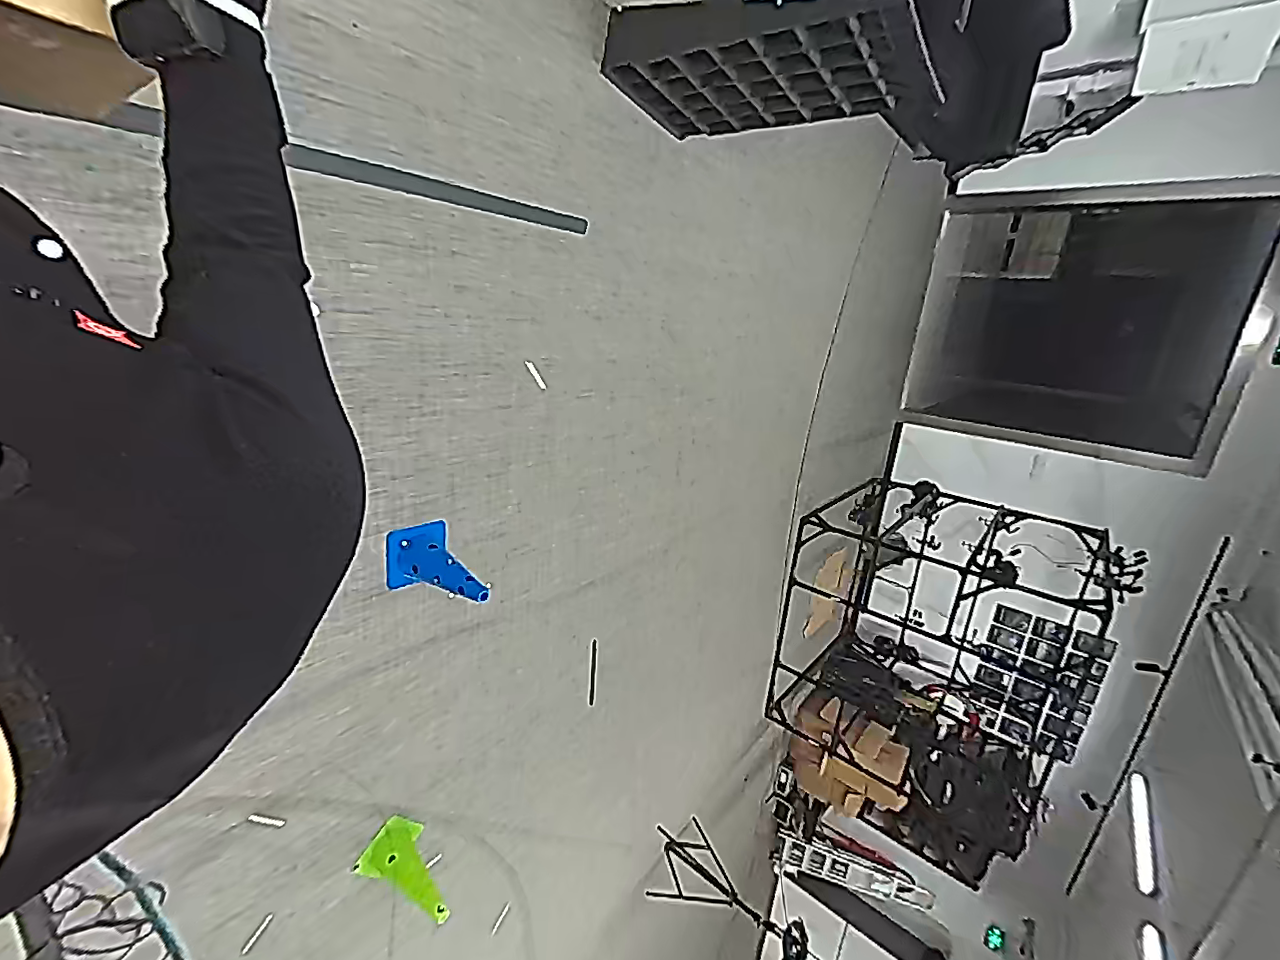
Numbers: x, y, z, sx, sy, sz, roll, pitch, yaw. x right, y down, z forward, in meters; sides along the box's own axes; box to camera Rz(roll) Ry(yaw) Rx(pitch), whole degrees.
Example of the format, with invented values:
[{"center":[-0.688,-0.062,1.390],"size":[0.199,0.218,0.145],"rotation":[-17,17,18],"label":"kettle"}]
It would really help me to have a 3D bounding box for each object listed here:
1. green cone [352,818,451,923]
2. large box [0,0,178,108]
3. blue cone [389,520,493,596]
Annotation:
[{"center":[-0.770,1.372,1.845],"size":[0.202,0.368,0.200],"rotation":[-54,141,-26],"label":"green cone"},{"center":[-0.554,-0.455,0.277],"size":[0.408,0.320,0.320],"rotation":[-14,116,-51],"label":"large box"},{"center":[-0.588,0.273,1.642],"size":[0.192,0.380,0.193],"rotation":[-12,114,-52],"label":"blue cone"}]
